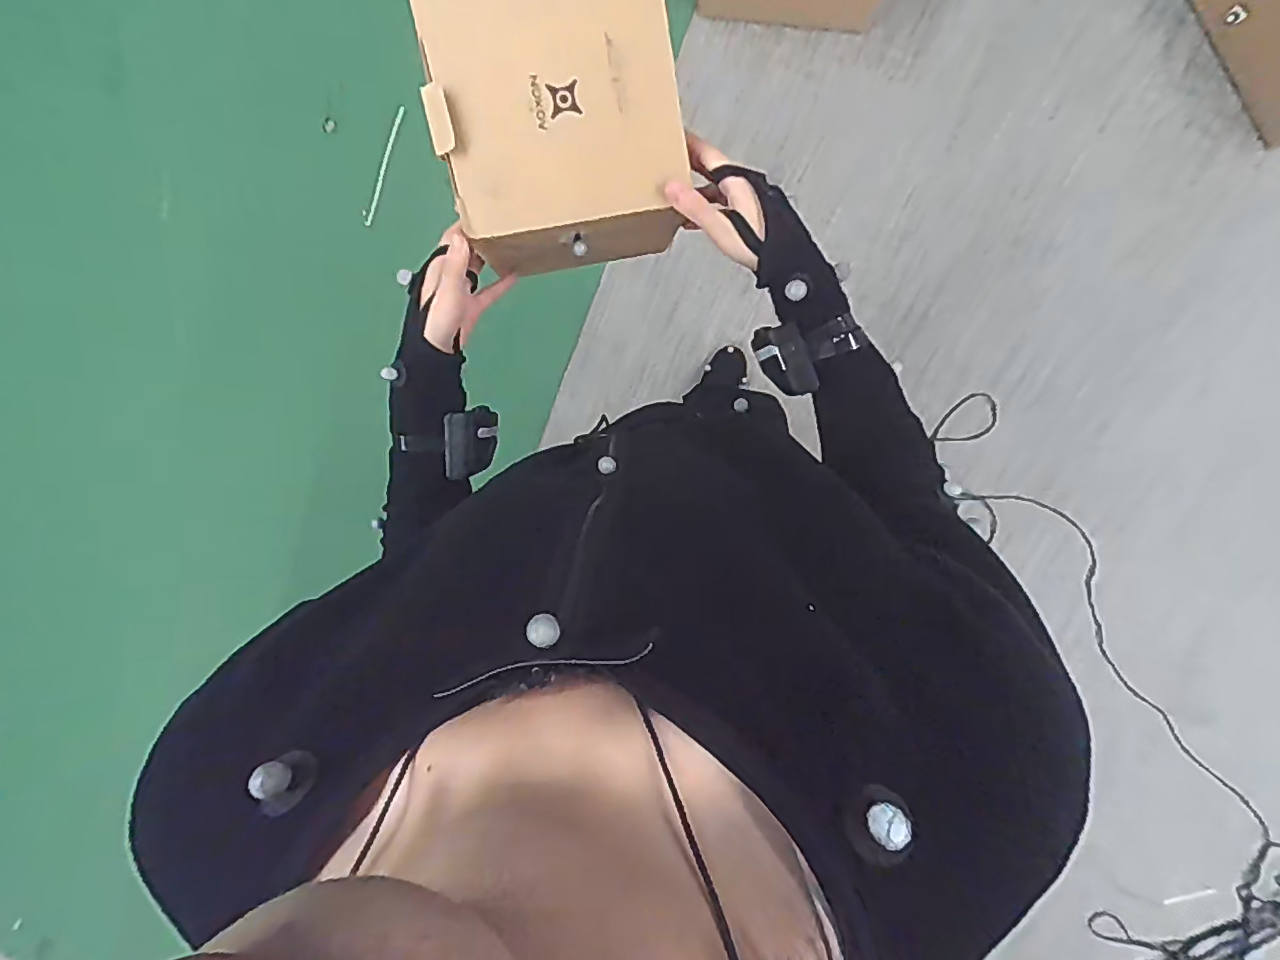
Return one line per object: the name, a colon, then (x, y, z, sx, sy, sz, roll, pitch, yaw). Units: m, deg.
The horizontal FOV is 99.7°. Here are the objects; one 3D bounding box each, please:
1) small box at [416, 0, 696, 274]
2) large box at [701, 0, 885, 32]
small box: (-0.061, -0.286, 0.462, 0.179, 0.176, 0.168, -11, 101, -3)
large box: (0.343, -1.194, 1.111, 0.408, 0.320, 0.320, 10, 100, 7)
